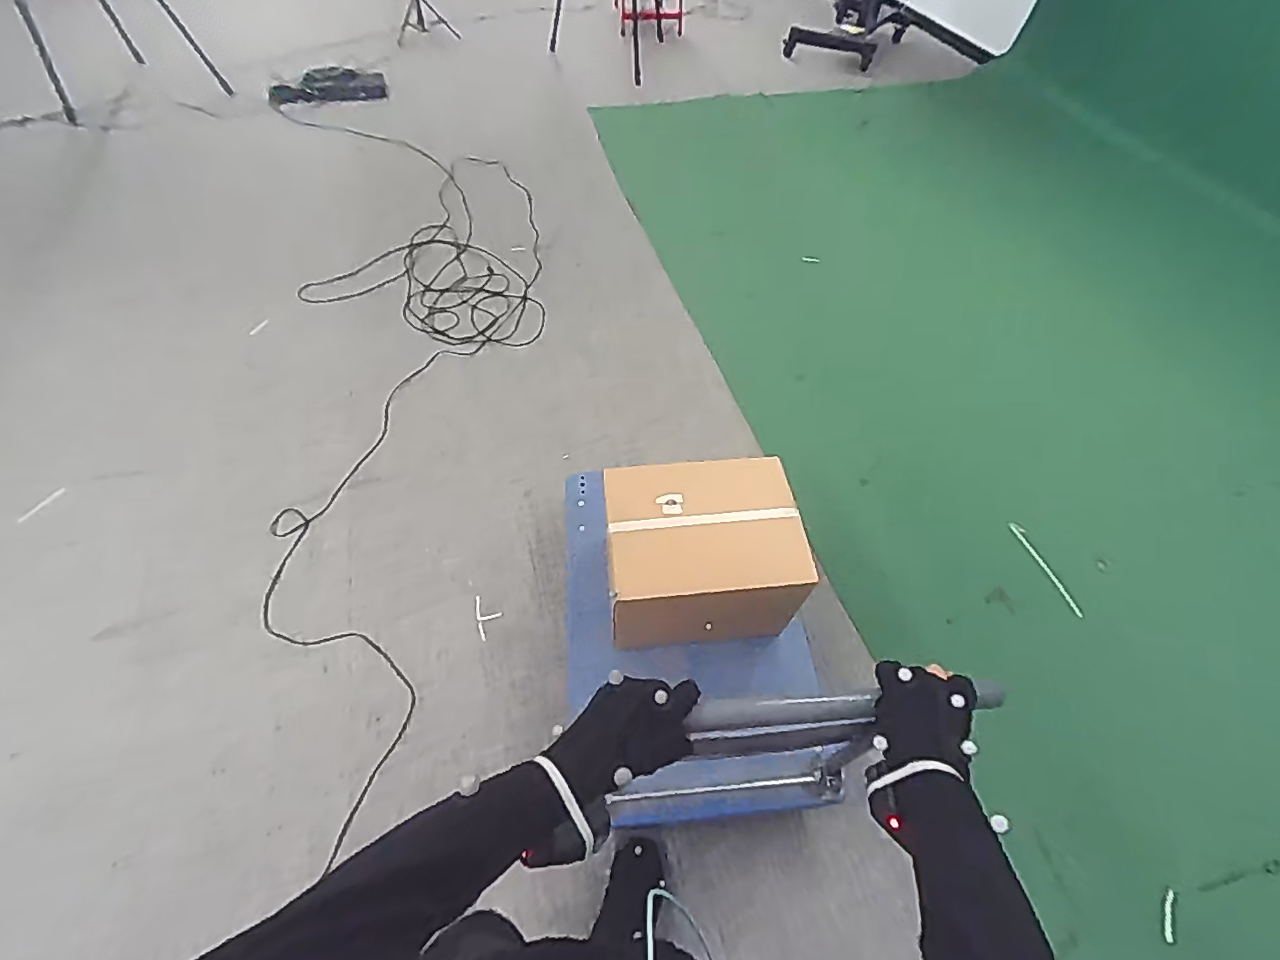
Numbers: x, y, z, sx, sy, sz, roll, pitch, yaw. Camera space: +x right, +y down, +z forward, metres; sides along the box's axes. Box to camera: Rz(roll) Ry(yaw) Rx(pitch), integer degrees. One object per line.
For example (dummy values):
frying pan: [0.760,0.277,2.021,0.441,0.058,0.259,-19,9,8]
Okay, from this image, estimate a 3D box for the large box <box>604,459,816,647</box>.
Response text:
large box: [0.134,0.177,1.260,0.408,0.320,0.320,-5,56,-5]
